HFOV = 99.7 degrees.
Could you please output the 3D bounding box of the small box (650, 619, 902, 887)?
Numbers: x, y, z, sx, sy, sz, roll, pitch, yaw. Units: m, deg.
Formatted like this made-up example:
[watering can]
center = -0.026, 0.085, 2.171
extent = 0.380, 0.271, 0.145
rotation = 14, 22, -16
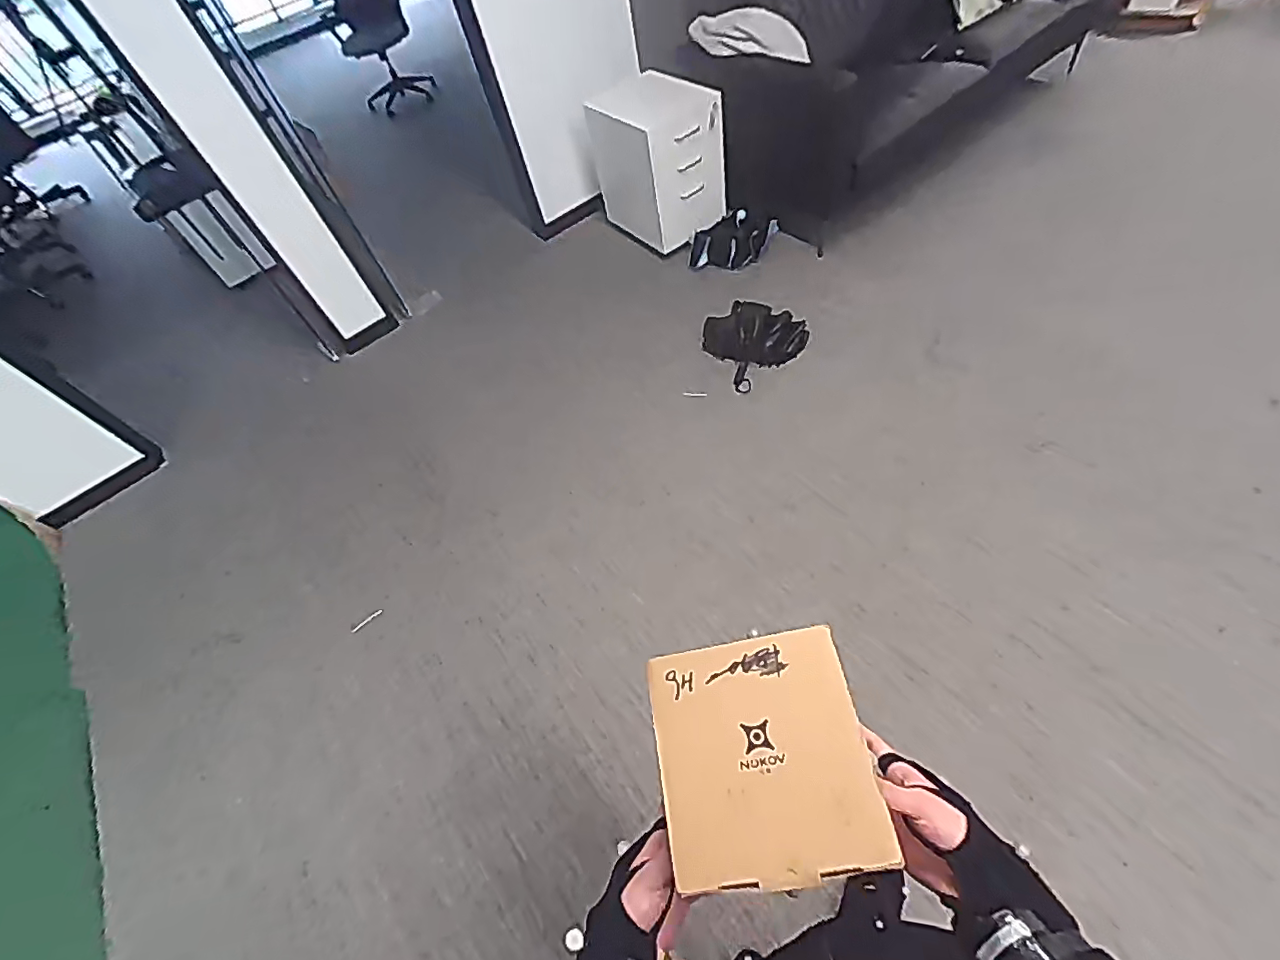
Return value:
[small box]
center = 0.114, 0.247, 0.499
extent = 0.168, 0.176, 0.179
rotation = -12, 58, 6
